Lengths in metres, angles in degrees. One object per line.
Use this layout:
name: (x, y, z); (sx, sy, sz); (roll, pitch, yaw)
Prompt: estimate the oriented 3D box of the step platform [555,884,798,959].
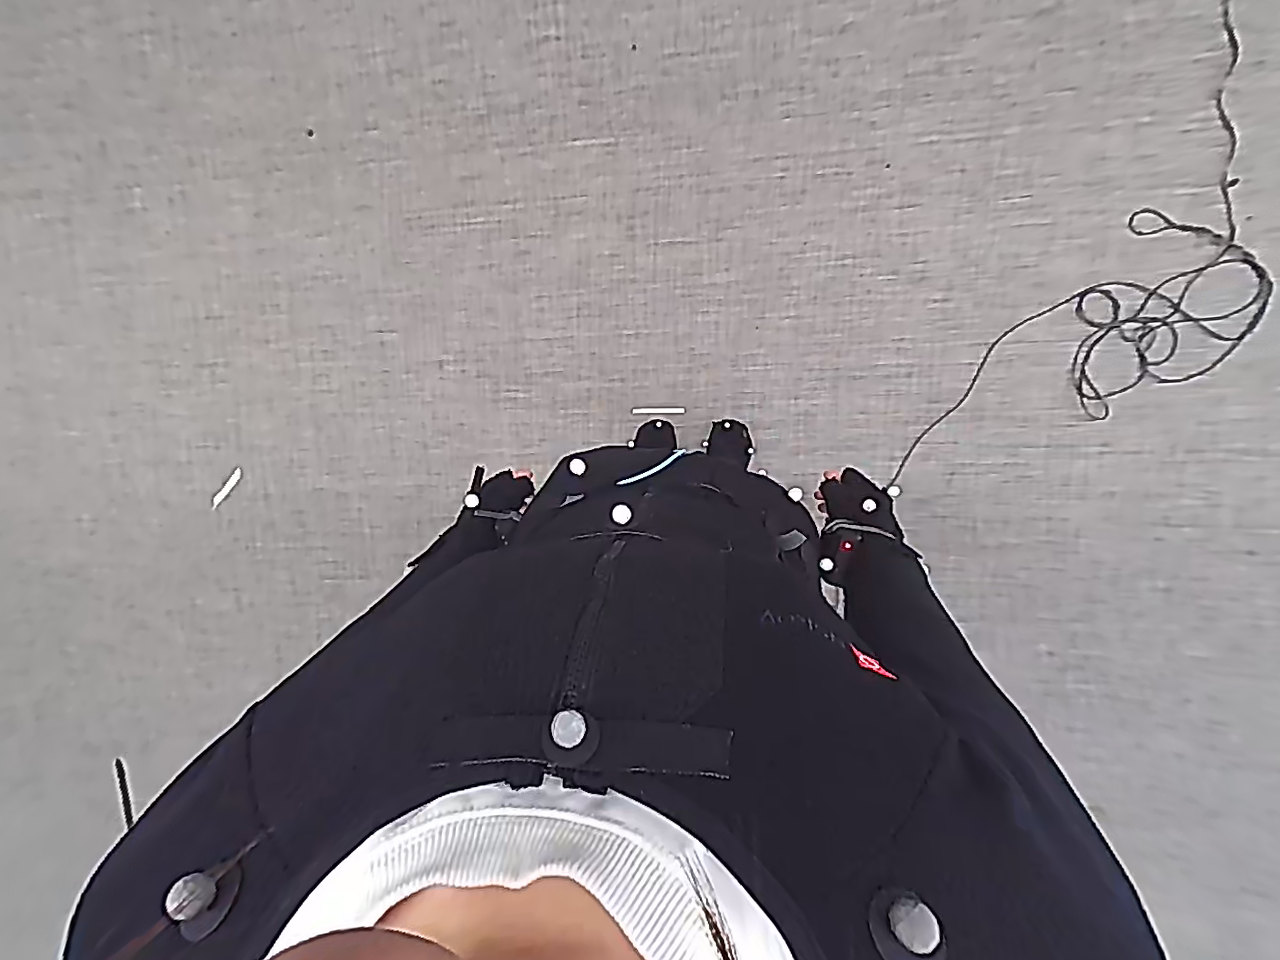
step platform: (0.101, 1.382, 1.540); (0.684, 0.204, 0.286); (-1, 97, 9)
